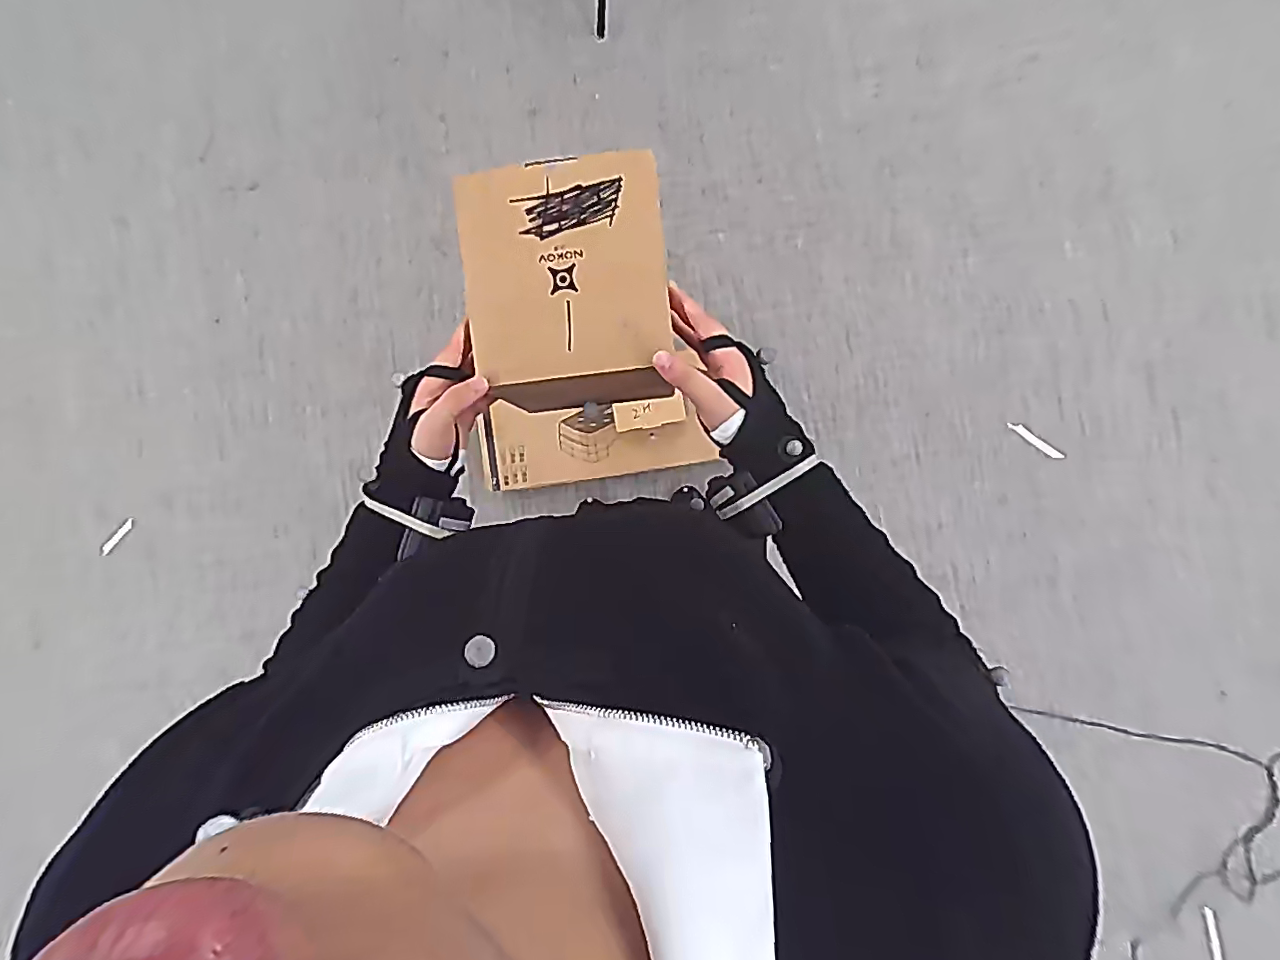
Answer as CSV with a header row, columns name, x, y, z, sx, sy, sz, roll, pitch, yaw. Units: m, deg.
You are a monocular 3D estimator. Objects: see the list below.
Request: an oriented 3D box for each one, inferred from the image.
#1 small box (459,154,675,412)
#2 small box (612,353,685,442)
name,x,y,z,sx,sy,sz,roll,pitch,yaw
small box,-0.057,-0.169,0.517,0.168,0.176,0.179,-6,90,3
small box,0.015,-0.201,1.330,0.168,0.176,0.179,-10,86,2
